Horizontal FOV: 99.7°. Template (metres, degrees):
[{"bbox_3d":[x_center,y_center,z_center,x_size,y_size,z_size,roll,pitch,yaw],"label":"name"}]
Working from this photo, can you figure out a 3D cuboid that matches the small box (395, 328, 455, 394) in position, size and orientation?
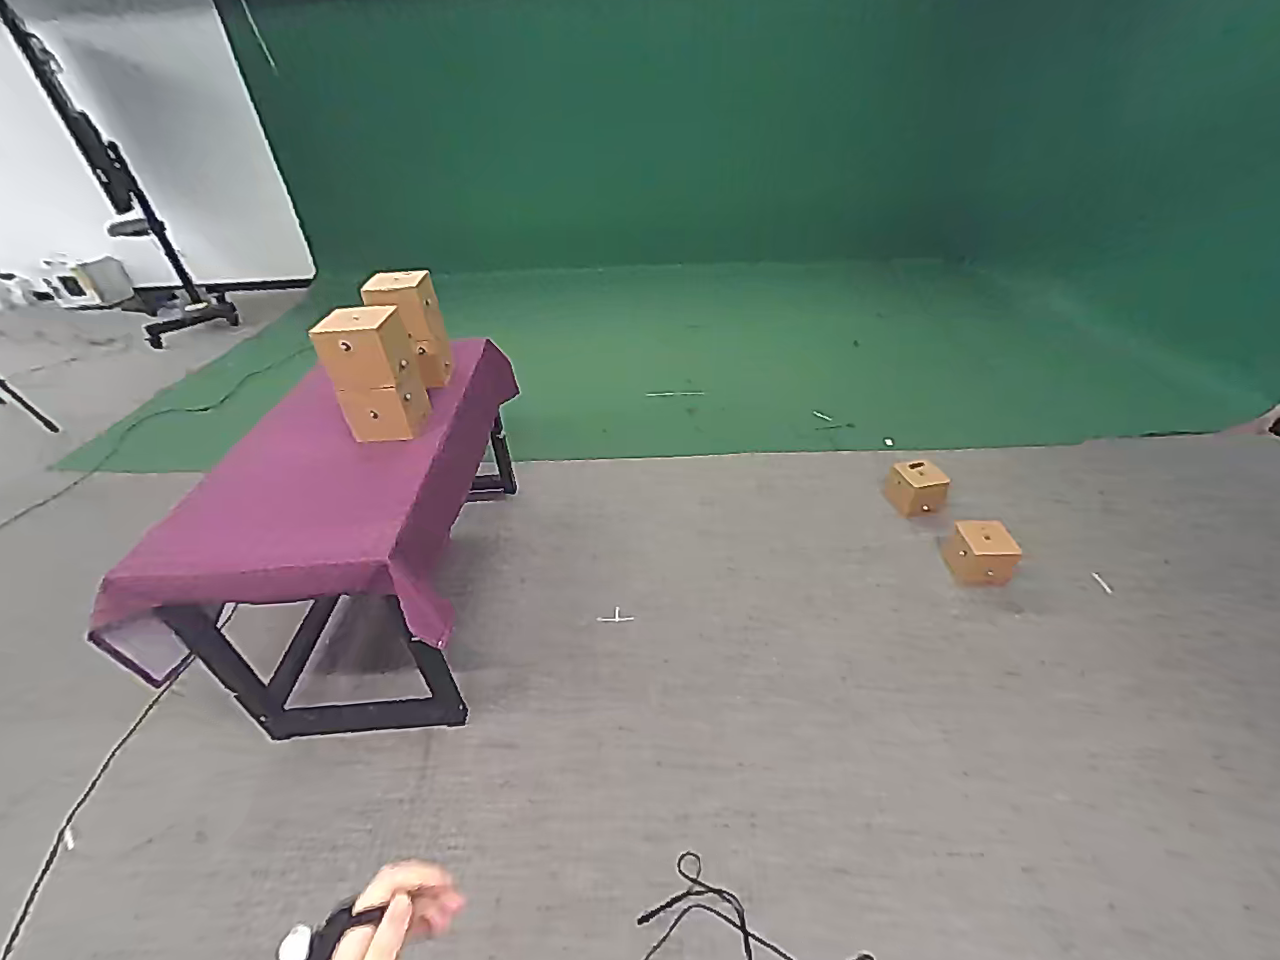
[{"bbox_3d":[-0.746,-0.401,1.828,0.179,0.176,0.168,-4,36,-3],"label":"small box"}]

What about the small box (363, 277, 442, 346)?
[{"bbox_3d":[-0.750,-0.534,1.731,0.168,0.176,0.179,-4,37,-3],"label":"small box"}]

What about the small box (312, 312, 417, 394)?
[{"bbox_3d":[-0.737,-0.342,1.467,0.179,0.176,0.168,-2,37,2],"label":"small box"}]

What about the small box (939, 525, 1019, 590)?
[{"bbox_3d":[1.228,0.285,1.972,0.168,0.176,0.179,-1,36,2],"label":"small box"}]

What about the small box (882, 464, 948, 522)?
[{"bbox_3d":[1.155,0.054,2.289,0.168,0.176,0.179,-9,37,-8],"label":"small box"}]
